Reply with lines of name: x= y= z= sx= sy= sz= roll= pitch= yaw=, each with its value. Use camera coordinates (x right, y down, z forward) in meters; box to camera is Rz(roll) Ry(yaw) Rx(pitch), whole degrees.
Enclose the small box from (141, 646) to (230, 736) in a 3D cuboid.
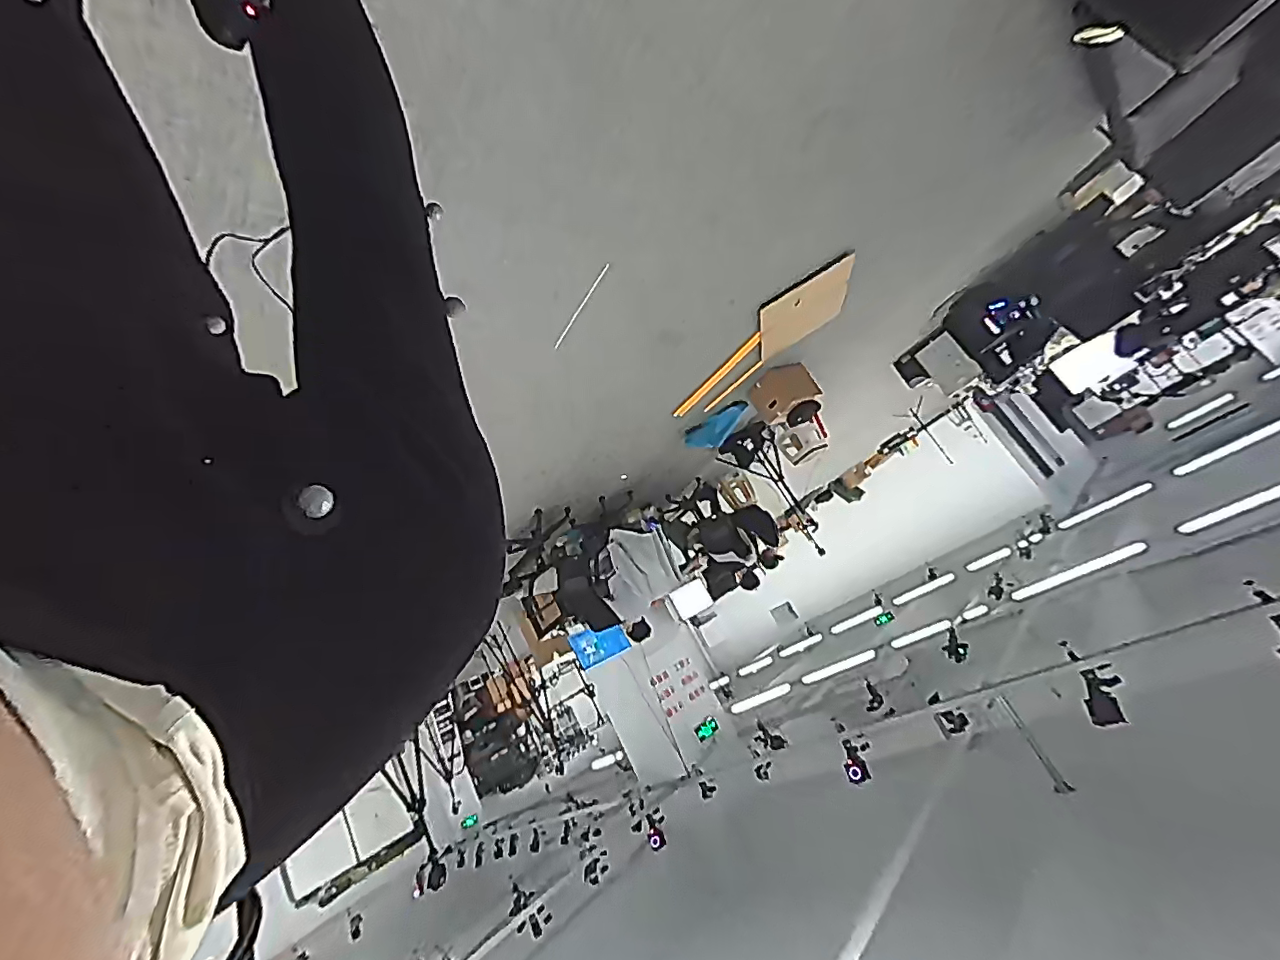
small box: x=-1.287 y=0.594 z=1.536 sx=0.168 sy=0.176 sz=0.179 roll=-15 pitch=158 yaw=-42
